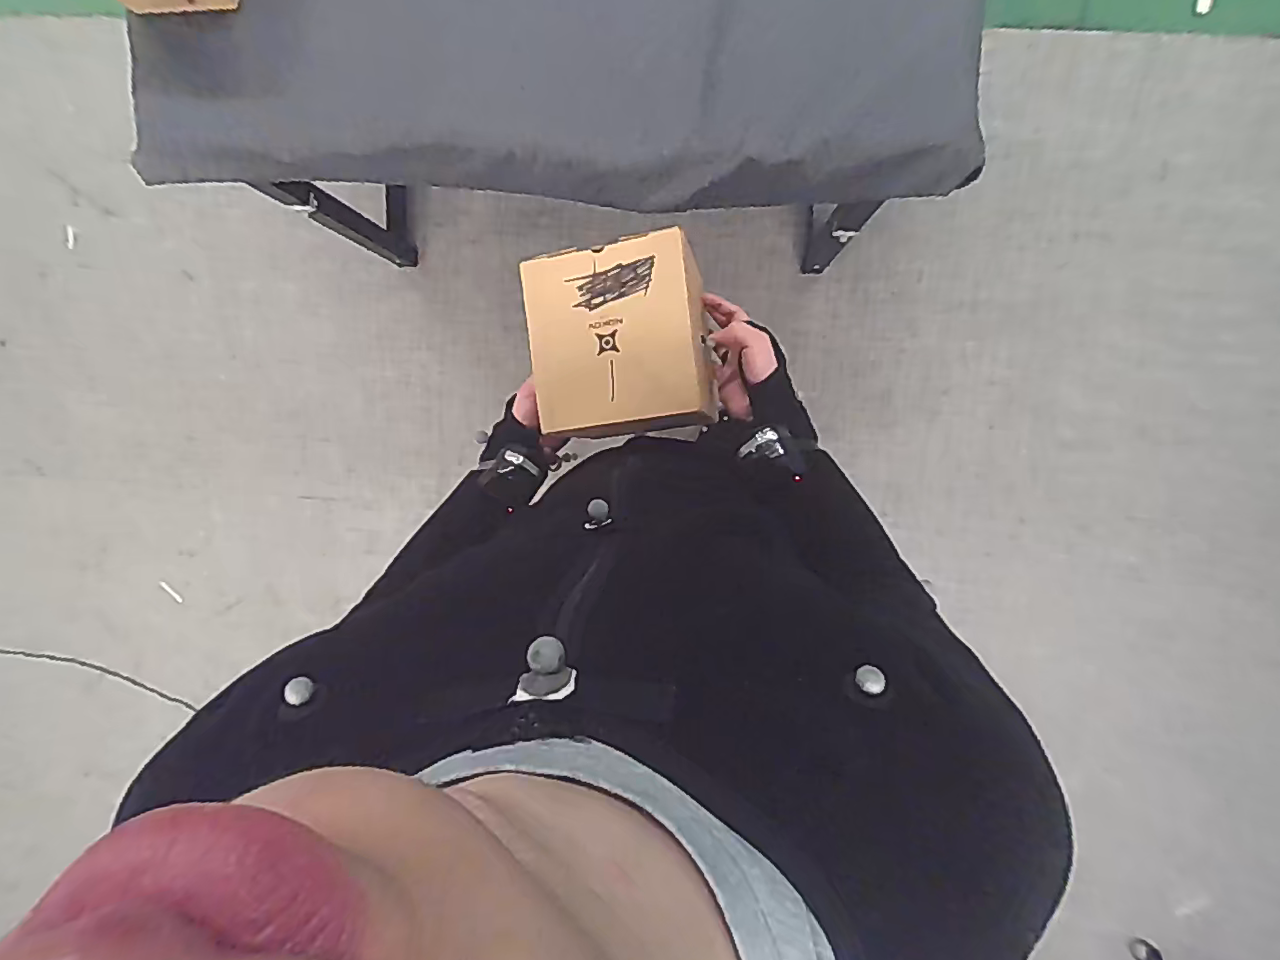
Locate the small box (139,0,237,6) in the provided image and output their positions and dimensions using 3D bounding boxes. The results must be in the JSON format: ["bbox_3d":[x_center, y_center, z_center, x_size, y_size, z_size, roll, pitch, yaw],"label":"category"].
[{"bbox_3d":[-0.668,-0.770,0.710,0.168,0.176,0.179,0,97,3],"label":"small box"}]
